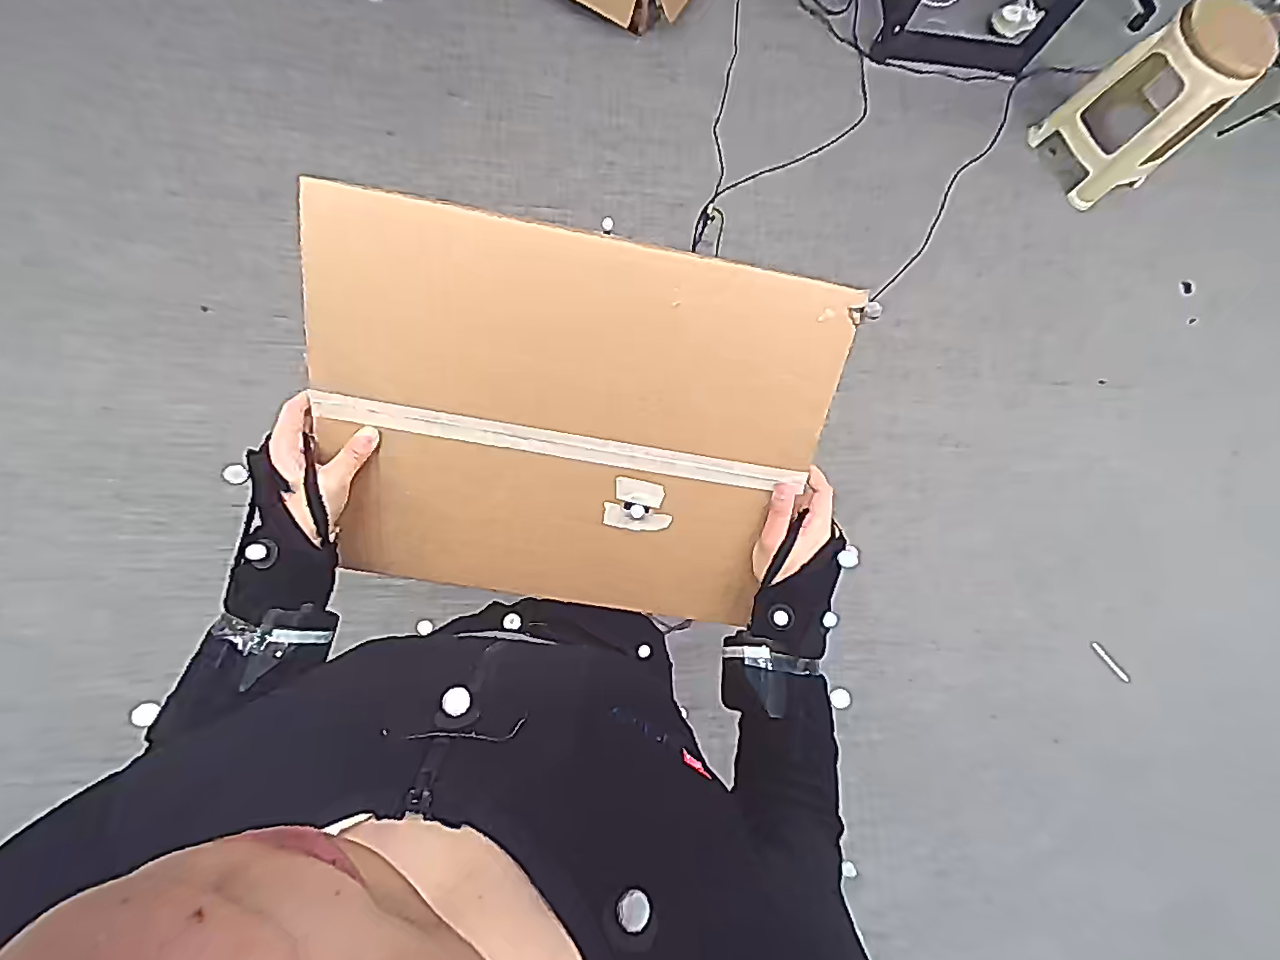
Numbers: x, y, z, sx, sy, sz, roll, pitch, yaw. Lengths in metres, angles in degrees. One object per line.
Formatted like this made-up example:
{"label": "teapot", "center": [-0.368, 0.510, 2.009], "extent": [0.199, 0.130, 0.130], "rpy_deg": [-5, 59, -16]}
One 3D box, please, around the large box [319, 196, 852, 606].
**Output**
{"label": "large box", "center": [-0.061, -0.098, 0.592], "extent": [0.408, 0.320, 0.320], "rpy_deg": [8, 115, -6]}
